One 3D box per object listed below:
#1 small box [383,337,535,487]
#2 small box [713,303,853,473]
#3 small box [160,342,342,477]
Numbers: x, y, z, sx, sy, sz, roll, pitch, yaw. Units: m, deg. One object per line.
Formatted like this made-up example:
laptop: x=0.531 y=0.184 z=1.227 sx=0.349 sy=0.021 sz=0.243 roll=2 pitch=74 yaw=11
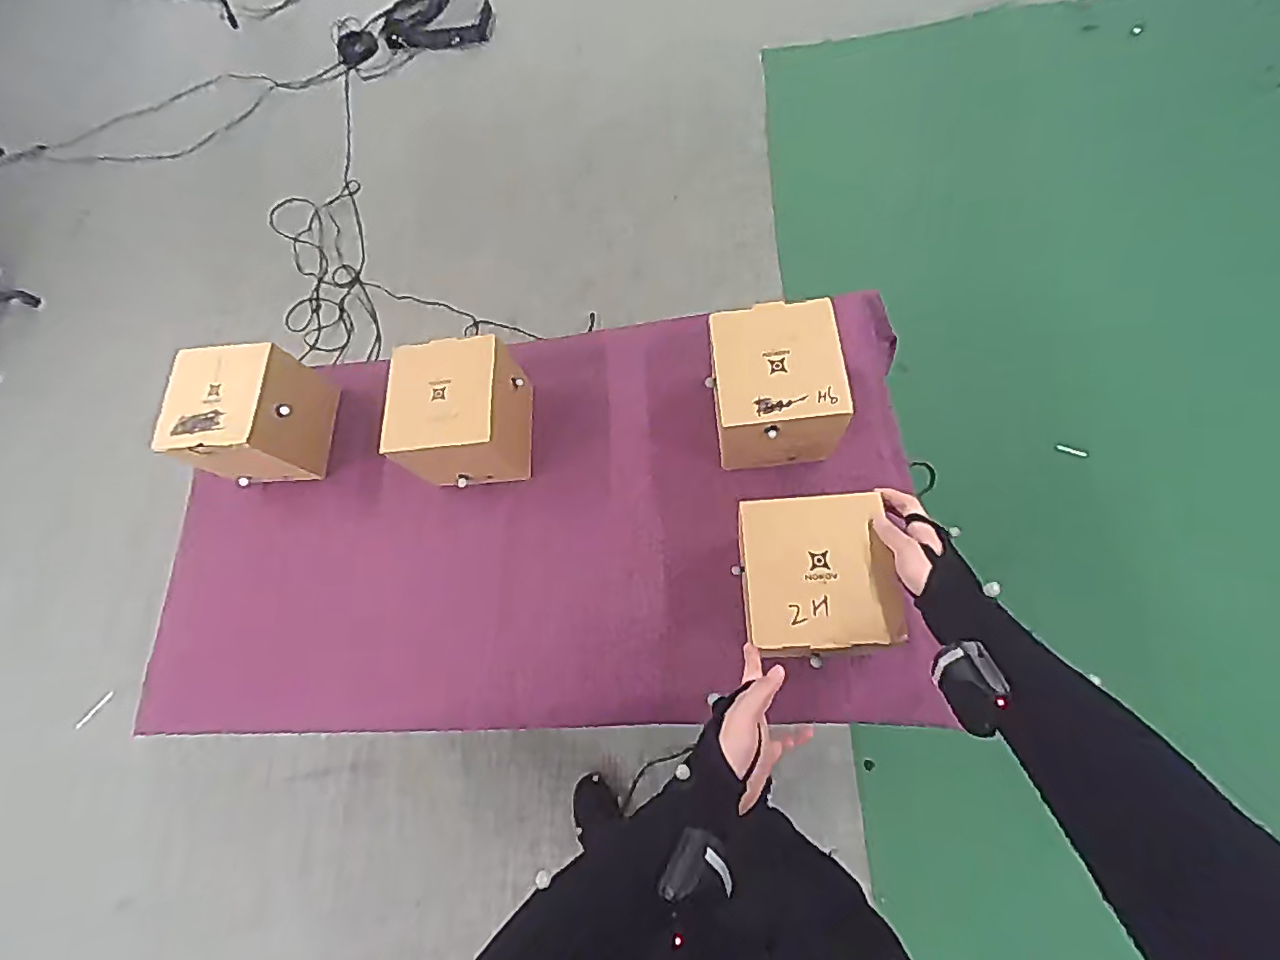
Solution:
small box: x=-0.272 y=-0.100 z=0.853 sx=0.168 sy=0.176 sz=0.179 roll=-4 pitch=71 yaw=8
small box: x=0.195 y=-0.126 z=0.787 sx=0.168 sy=0.176 sz=0.179 roll=-6 pitch=70 yaw=8
small box: x=-0.636 y=-0.107 z=0.908 sx=0.168 sy=0.176 sz=0.179 roll=-2 pitch=71 yaw=7
